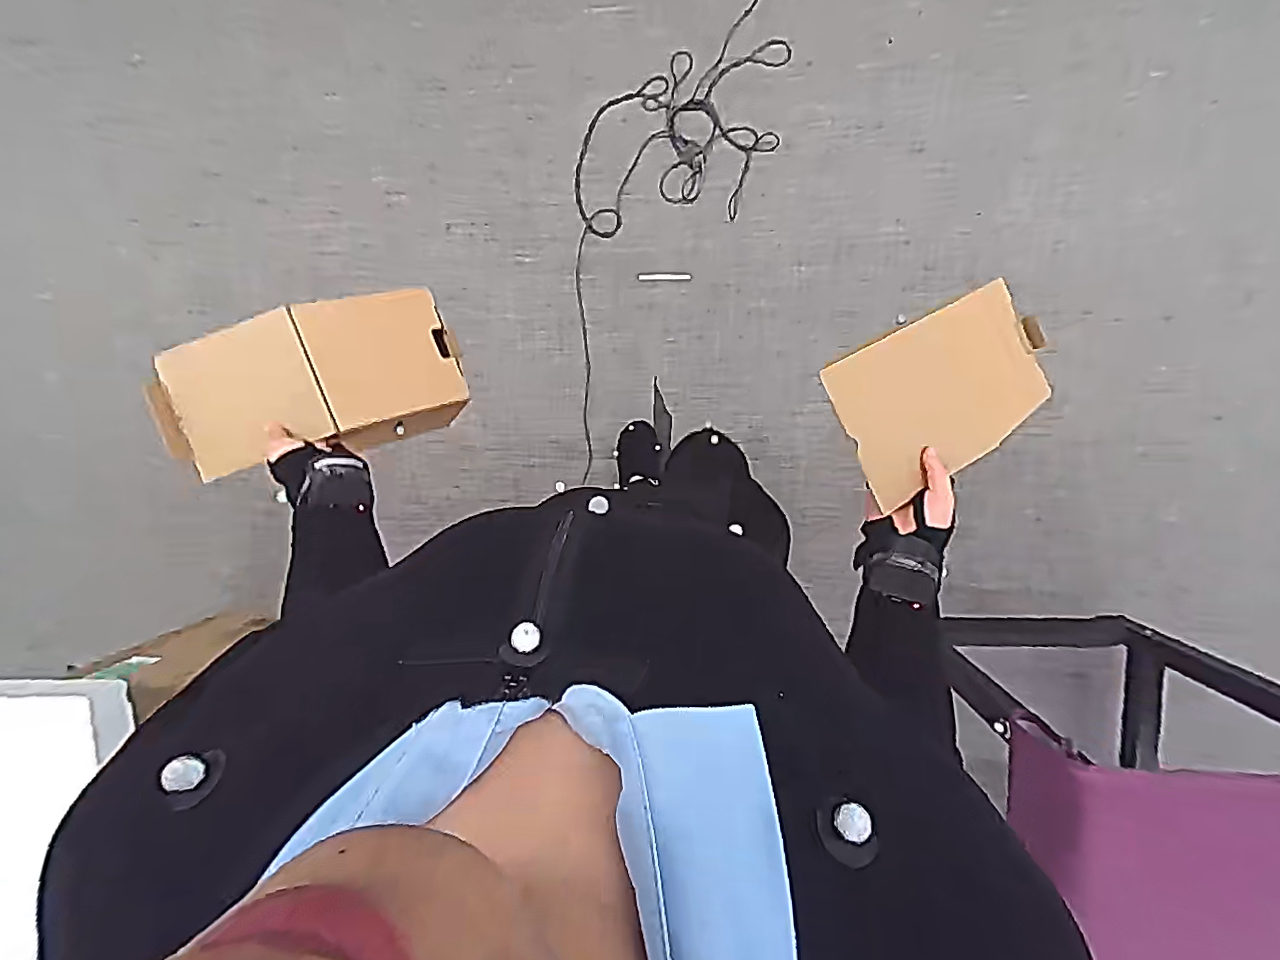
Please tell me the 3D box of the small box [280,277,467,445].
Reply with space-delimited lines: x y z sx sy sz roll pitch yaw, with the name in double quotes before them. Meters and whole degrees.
"small box" -0.368 -0.158 0.750 0.179 0.176 0.168 -22 94 -32
